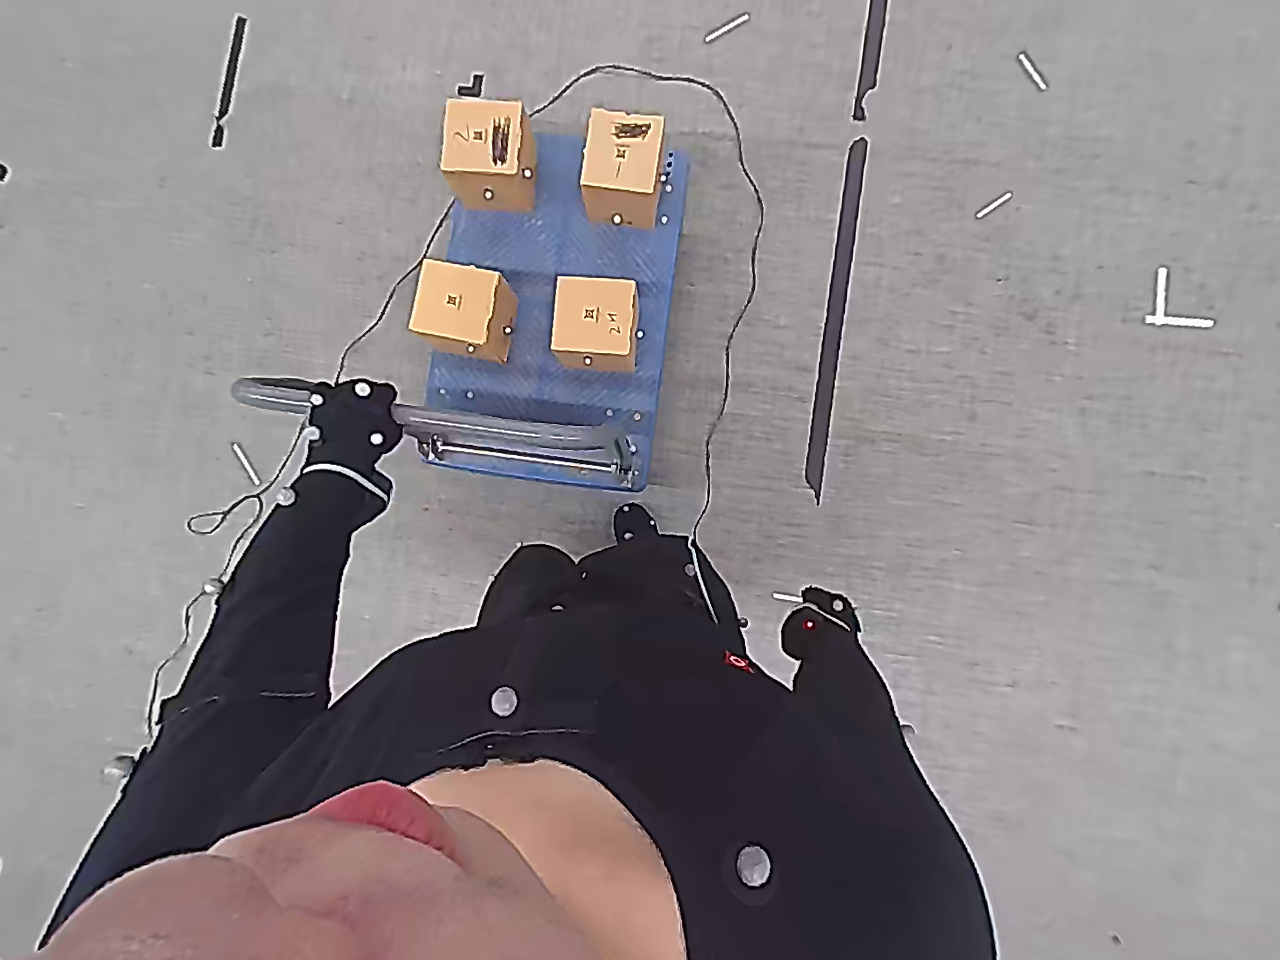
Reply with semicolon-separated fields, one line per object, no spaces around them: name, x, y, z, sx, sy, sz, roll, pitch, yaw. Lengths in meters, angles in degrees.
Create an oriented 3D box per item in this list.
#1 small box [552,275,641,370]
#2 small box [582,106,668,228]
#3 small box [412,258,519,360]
small box;-0.094;-0.357;1.253;0.179;0.176;0.168;5;88;3
small box;-0.031;-0.722;1.263;0.168;0.176;0.179;9;90;3
small box;-0.402;-0.393;1.268;0.179;0.176;0.168;11;88;1
